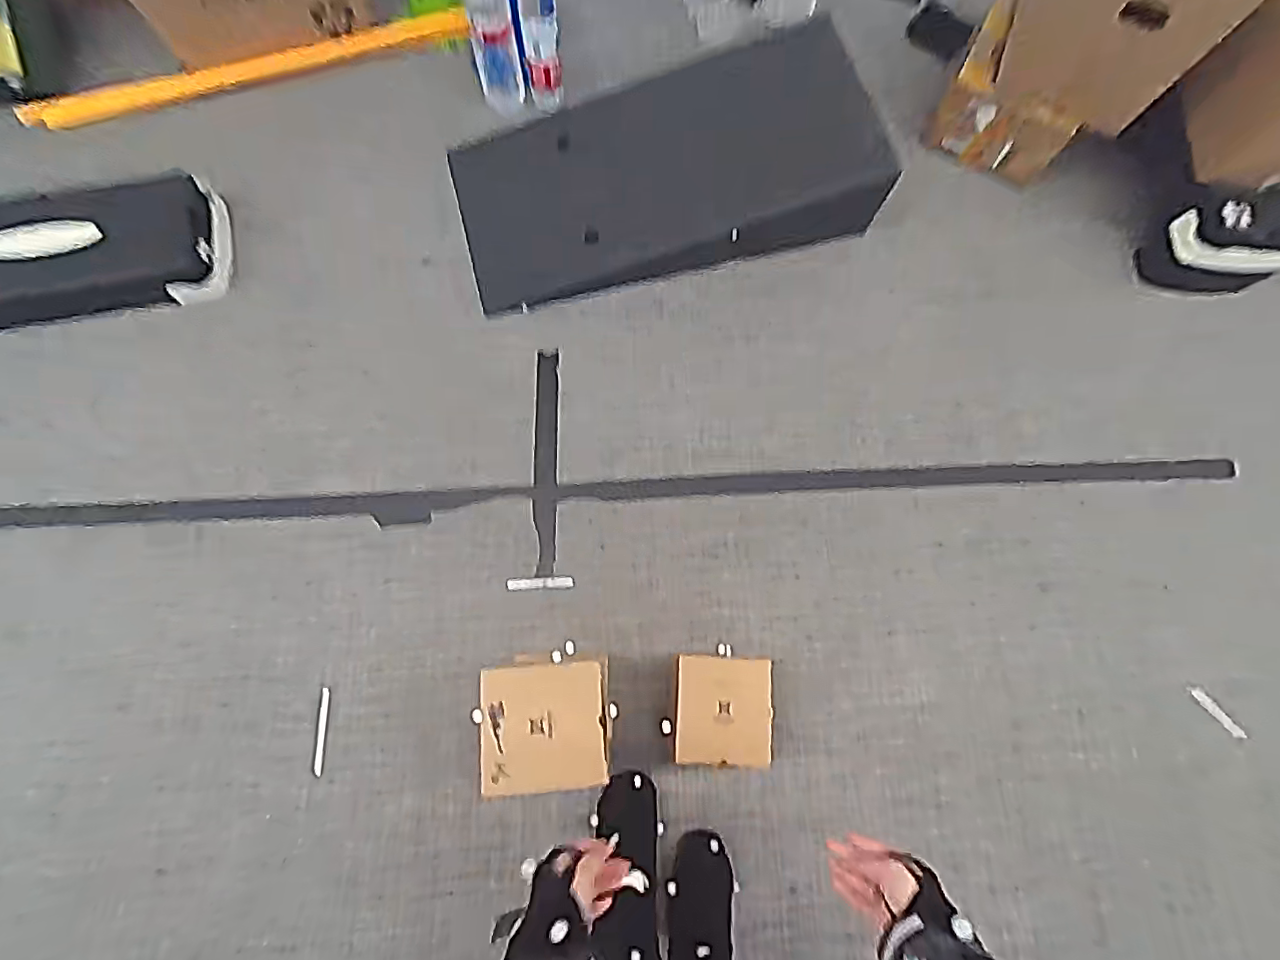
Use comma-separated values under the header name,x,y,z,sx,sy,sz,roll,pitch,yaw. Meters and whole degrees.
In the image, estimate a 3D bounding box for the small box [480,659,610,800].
name,x,y,z,sx,sy,sz,roll,pitch,yaw
small box,-0.139,0.369,0.830,0.179,0.176,0.168,-3,75,-5

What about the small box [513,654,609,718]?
name,x,y,z,sx,sy,sz,roll,pitch,yaw
small box,-0.142,0.415,0.988,0.168,0.176,0.179,1,74,-3

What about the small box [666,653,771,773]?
name,x,y,z,sx,sy,sz,roll,pitch,yaw
small box,0.140,0.422,1.003,0.168,0.176,0.179,4,74,-2
